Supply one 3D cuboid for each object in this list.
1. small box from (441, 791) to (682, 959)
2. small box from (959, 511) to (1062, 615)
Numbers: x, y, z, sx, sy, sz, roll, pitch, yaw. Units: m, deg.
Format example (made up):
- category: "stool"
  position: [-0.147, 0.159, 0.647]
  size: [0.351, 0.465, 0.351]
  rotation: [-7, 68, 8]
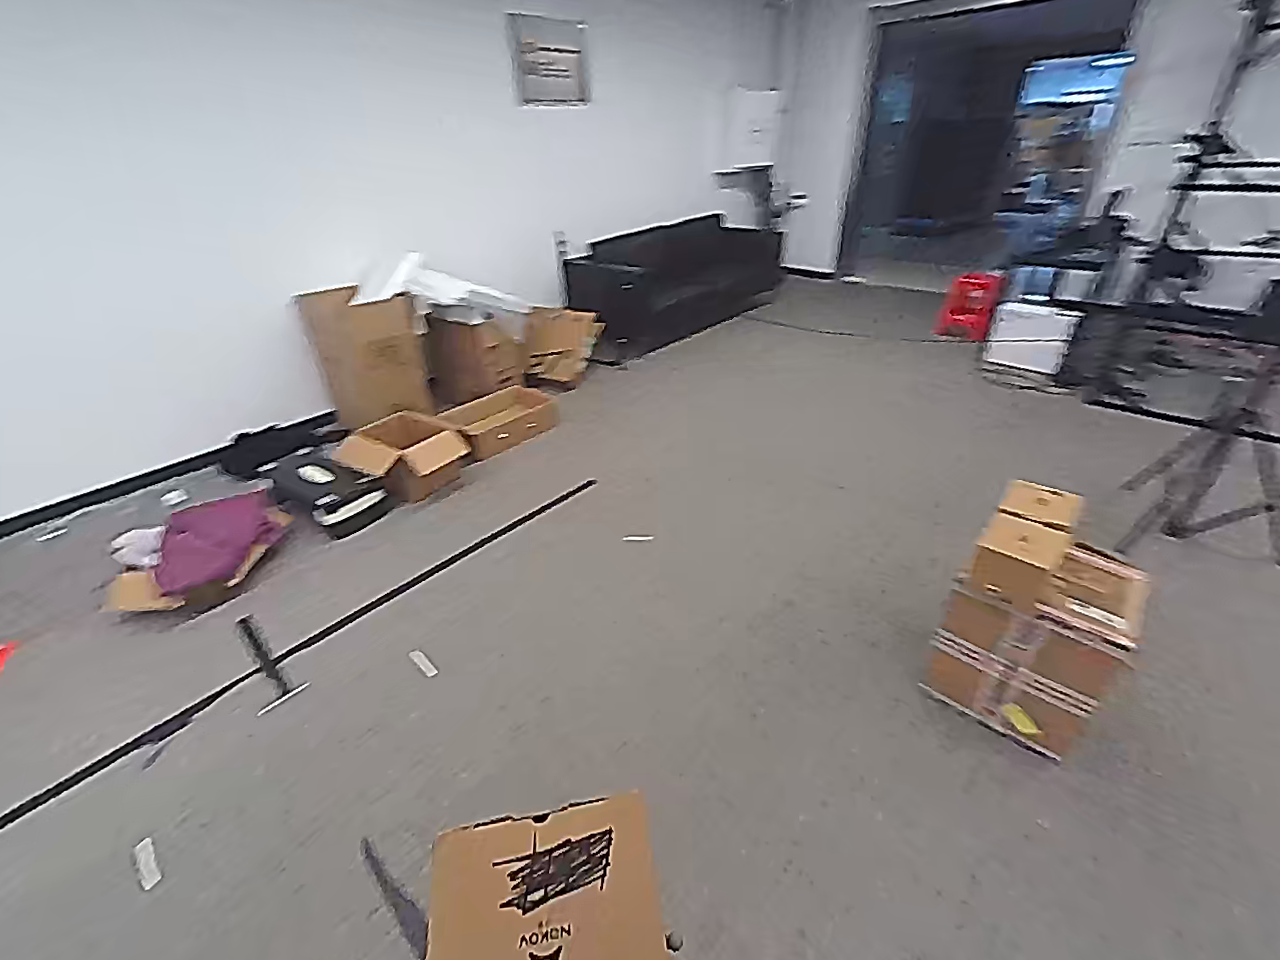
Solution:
- category: "small box"
  position: [-0.054, 0.378, 0.432]
  size: [0.168, 0.176, 0.179]
  rotation: [-8, 48, -5]
- category: "small box"
  position: [0.966, 0.216, 1.419]
  size: [0.168, 0.176, 0.179]
  rotation: [23, 44, 38]
